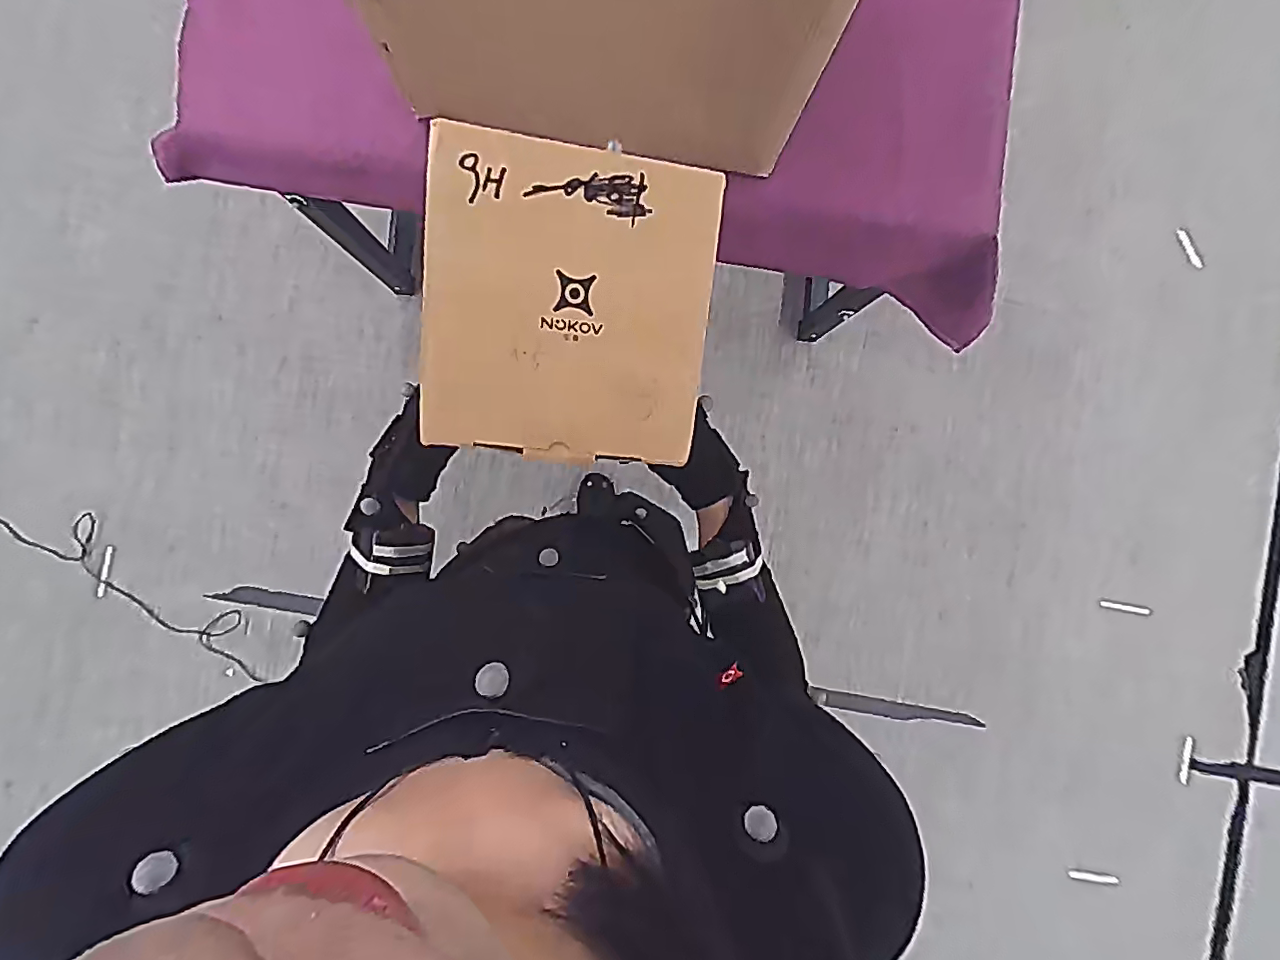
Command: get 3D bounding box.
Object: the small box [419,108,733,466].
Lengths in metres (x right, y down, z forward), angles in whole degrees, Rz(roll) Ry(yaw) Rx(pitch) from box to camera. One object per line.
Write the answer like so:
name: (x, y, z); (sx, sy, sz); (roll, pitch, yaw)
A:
small box: (-0.049, -0.118, 0.384); (0.168, 0.176, 0.179); (5, 102, -11)
